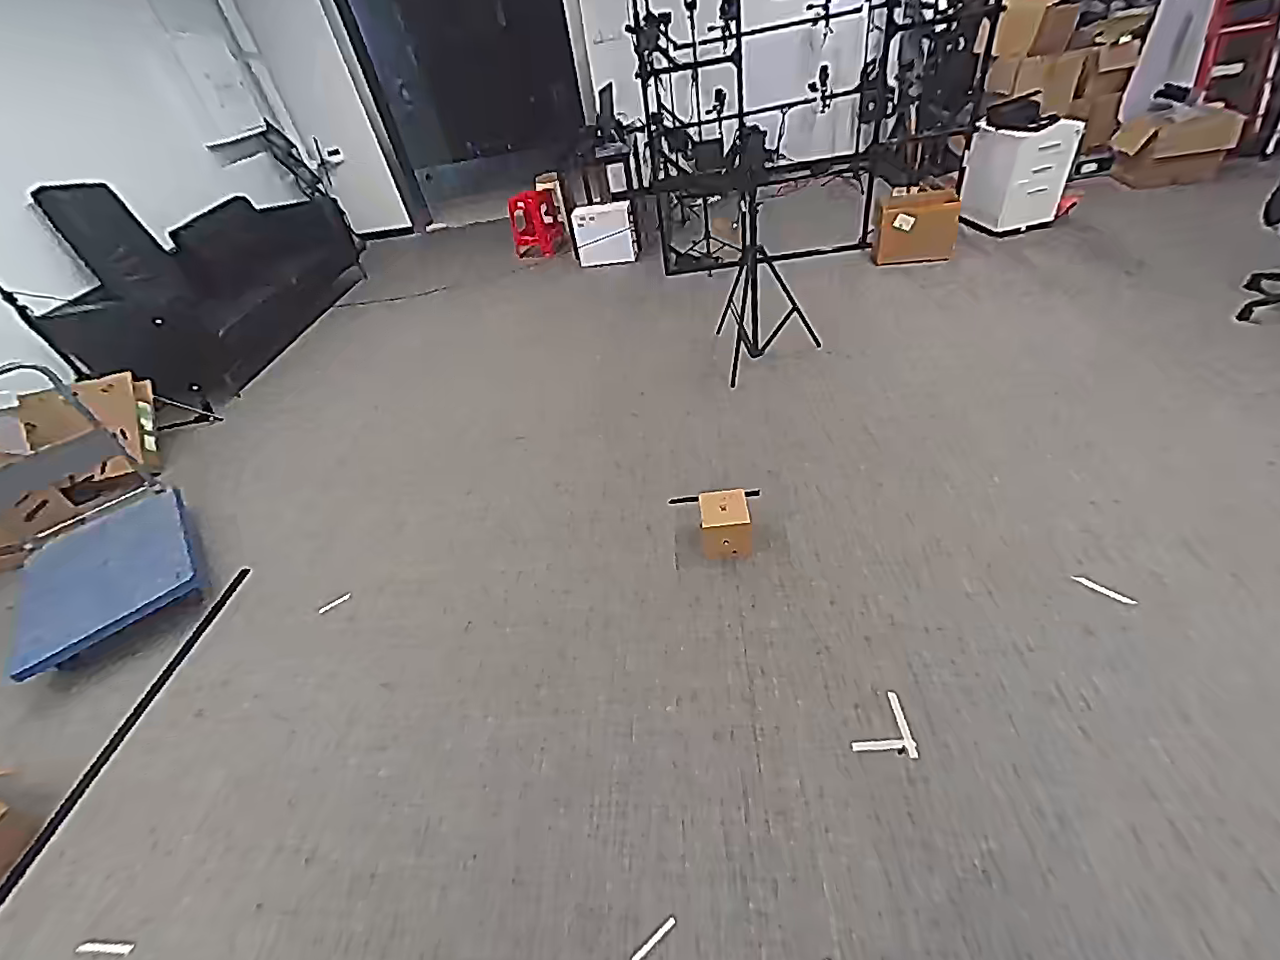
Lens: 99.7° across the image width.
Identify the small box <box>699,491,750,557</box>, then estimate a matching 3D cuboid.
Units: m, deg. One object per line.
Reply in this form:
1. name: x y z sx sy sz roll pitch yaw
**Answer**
1. small box: 0.306 0.166 1.955 0.168 0.176 0.179 -6 40 6
